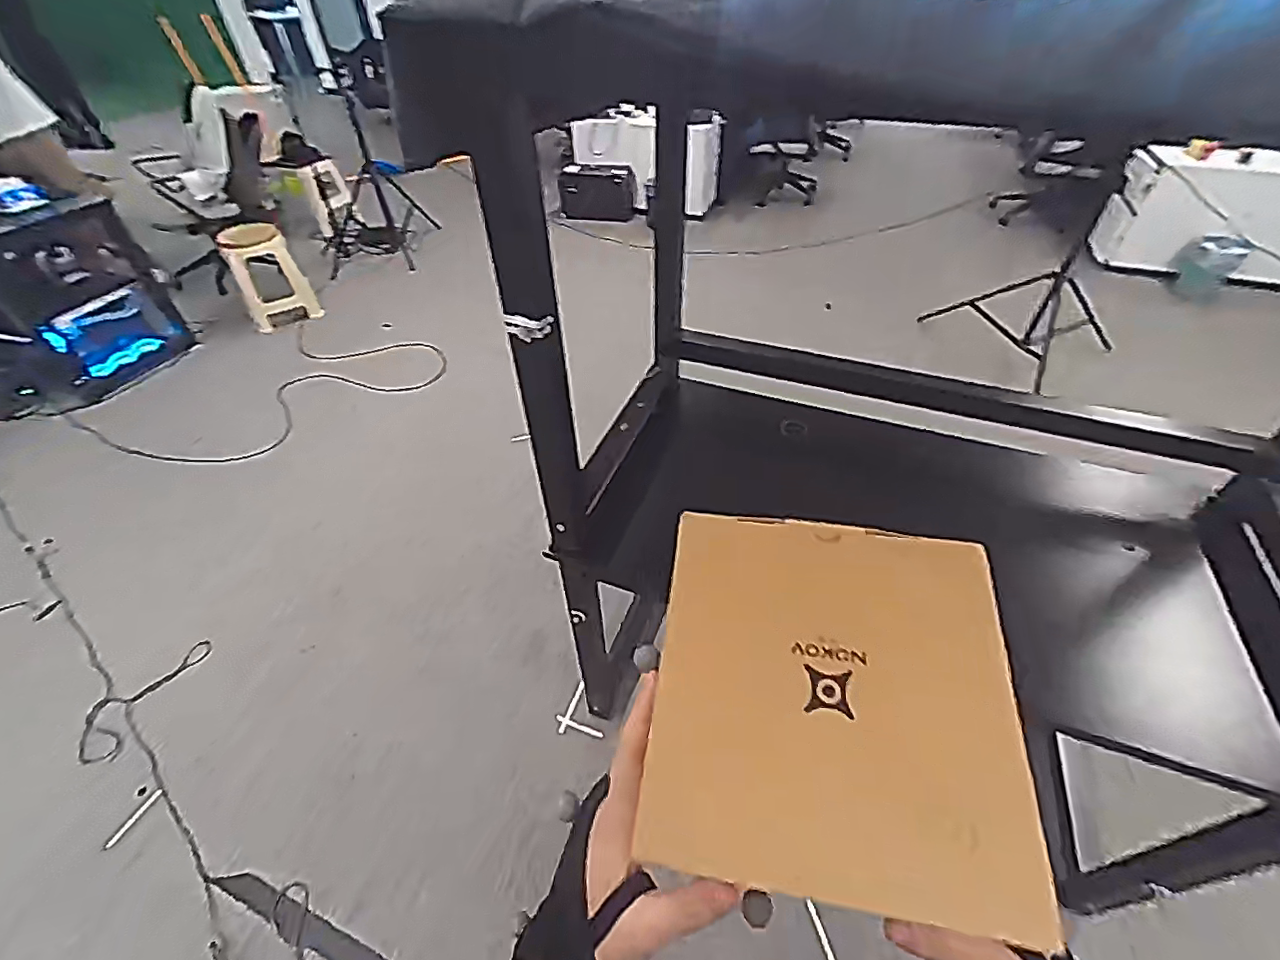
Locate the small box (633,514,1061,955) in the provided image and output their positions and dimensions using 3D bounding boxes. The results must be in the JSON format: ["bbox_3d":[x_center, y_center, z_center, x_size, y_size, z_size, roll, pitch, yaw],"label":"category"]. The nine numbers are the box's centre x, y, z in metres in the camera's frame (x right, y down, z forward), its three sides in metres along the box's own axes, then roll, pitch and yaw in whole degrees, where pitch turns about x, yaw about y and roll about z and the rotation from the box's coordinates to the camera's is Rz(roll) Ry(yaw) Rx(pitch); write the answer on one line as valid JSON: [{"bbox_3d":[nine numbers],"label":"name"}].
[{"bbox_3d":[0.097,0.144,0.323,0.168,0.176,0.179,5,55,9],"label":"small box"}]
